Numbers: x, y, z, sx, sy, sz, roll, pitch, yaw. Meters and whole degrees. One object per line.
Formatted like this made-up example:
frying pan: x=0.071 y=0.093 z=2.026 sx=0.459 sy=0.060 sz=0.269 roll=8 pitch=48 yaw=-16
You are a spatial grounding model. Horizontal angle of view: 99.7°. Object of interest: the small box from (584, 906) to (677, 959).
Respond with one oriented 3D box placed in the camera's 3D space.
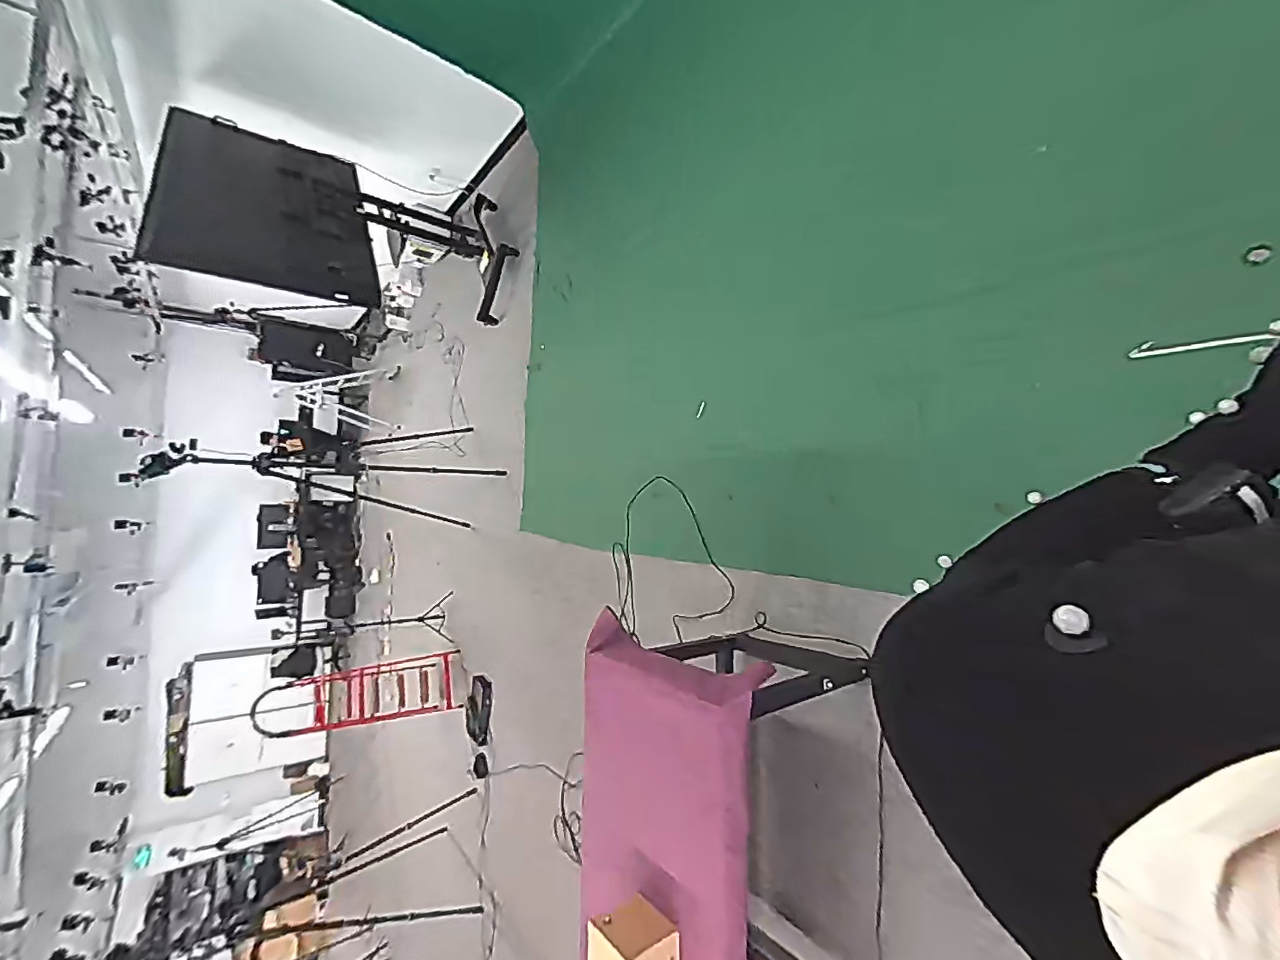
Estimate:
small box: x=-0.022 y=1.215 z=1.343 sx=0.179 sy=0.176 sz=0.168 roll=-5 pitch=83 yaw=51
